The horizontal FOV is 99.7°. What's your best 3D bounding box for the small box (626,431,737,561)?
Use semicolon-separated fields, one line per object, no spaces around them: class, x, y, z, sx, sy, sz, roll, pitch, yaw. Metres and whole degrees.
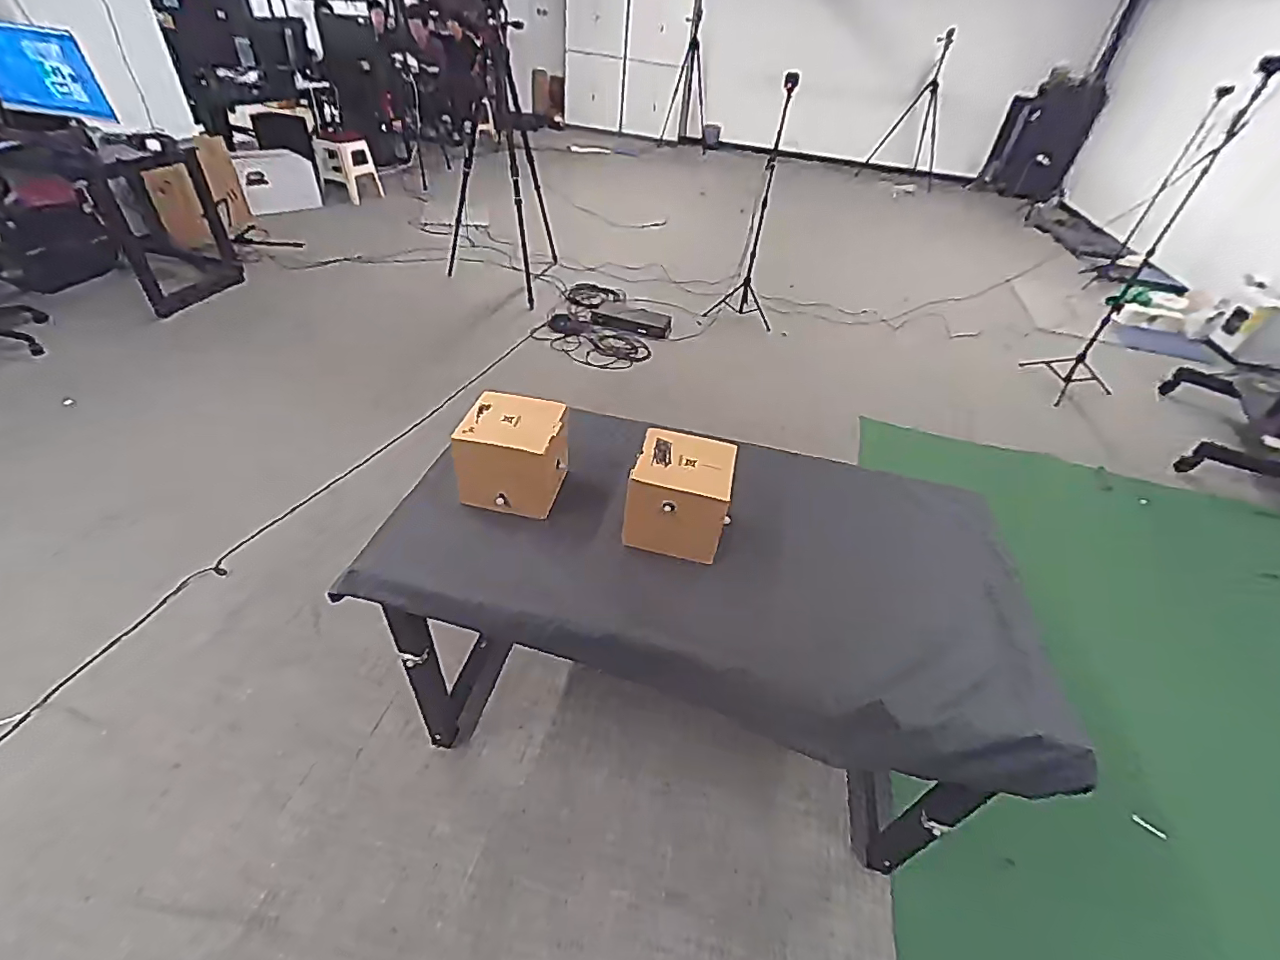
small box;0.077;0.032;1.034;0.179;0.176;0.168;13;41;6

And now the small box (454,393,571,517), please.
small box;-0.245;-0.046;1.078;0.179;0.176;0.168;11;41;4
